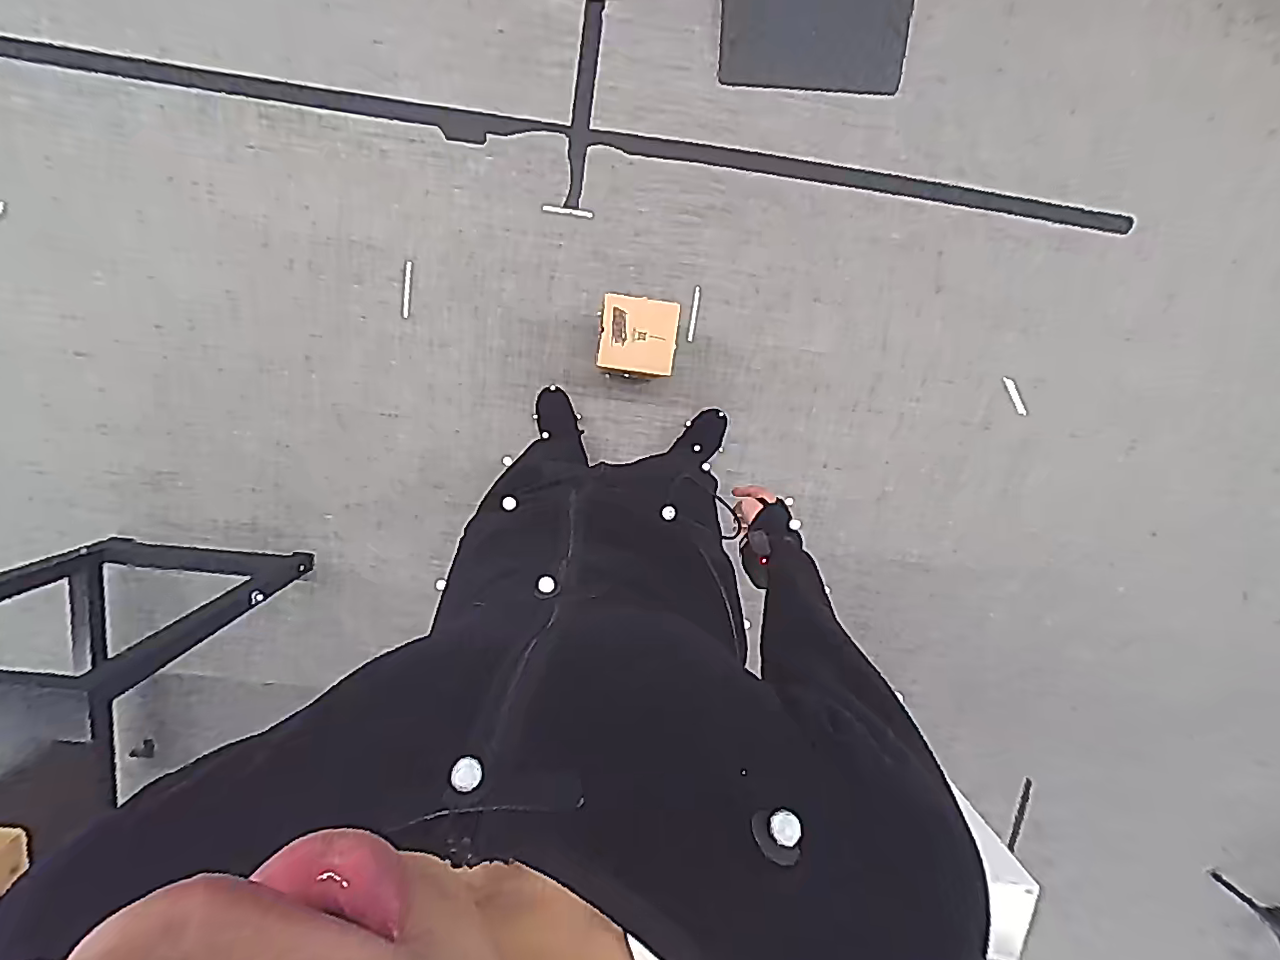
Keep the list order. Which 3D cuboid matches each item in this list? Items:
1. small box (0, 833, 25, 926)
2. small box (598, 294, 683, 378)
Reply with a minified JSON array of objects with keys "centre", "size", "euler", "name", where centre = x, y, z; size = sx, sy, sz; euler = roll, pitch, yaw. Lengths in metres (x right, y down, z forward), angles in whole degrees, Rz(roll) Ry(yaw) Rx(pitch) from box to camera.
[{"centre":[-1.168,0.695,0.868],"size":[0.179,0.176,0.168],"euler":[7,100,-4],"name":"small box"},{"centre":[-0.005,-0.339,1.303],"size":[0.179,0.176,0.168],"euler":[7,100,-6],"name":"small box"}]
